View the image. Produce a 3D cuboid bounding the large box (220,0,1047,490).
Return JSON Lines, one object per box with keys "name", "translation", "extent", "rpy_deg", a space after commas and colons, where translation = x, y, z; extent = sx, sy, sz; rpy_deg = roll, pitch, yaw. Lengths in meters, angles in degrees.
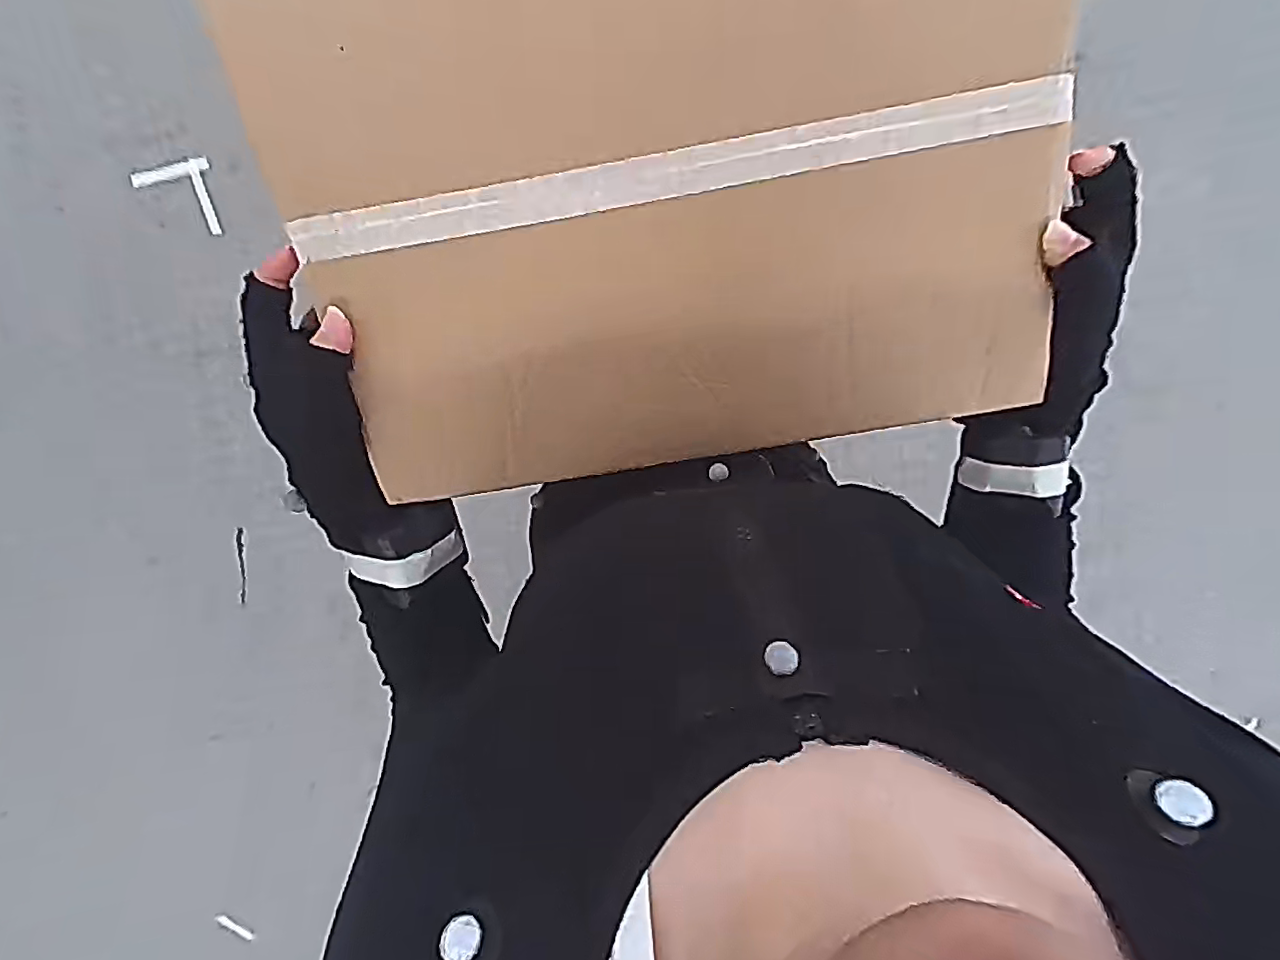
{"name": "large box", "translation": [0.009, -0.219, 0.428], "extent": [0.408, 0.320, 0.320], "rpy_deg": [-9, 110, 2]}
